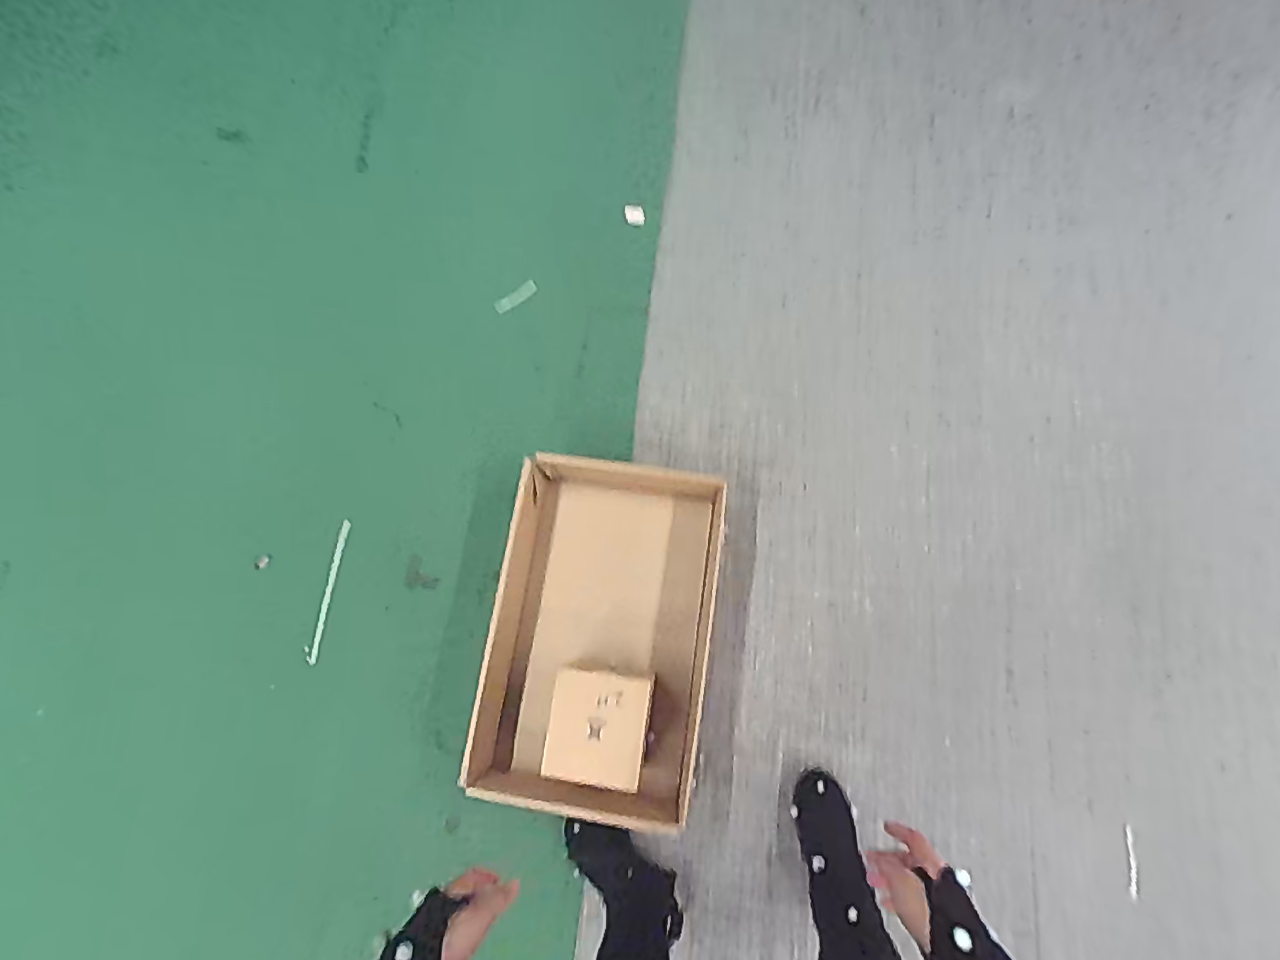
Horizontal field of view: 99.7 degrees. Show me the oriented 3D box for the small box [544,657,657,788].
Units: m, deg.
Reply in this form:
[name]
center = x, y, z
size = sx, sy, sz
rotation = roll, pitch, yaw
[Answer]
[small box]
center = -0.061, 0.428, 0.983
size = 0.168, 0.176, 0.179
rotation = 7, 75, 5
